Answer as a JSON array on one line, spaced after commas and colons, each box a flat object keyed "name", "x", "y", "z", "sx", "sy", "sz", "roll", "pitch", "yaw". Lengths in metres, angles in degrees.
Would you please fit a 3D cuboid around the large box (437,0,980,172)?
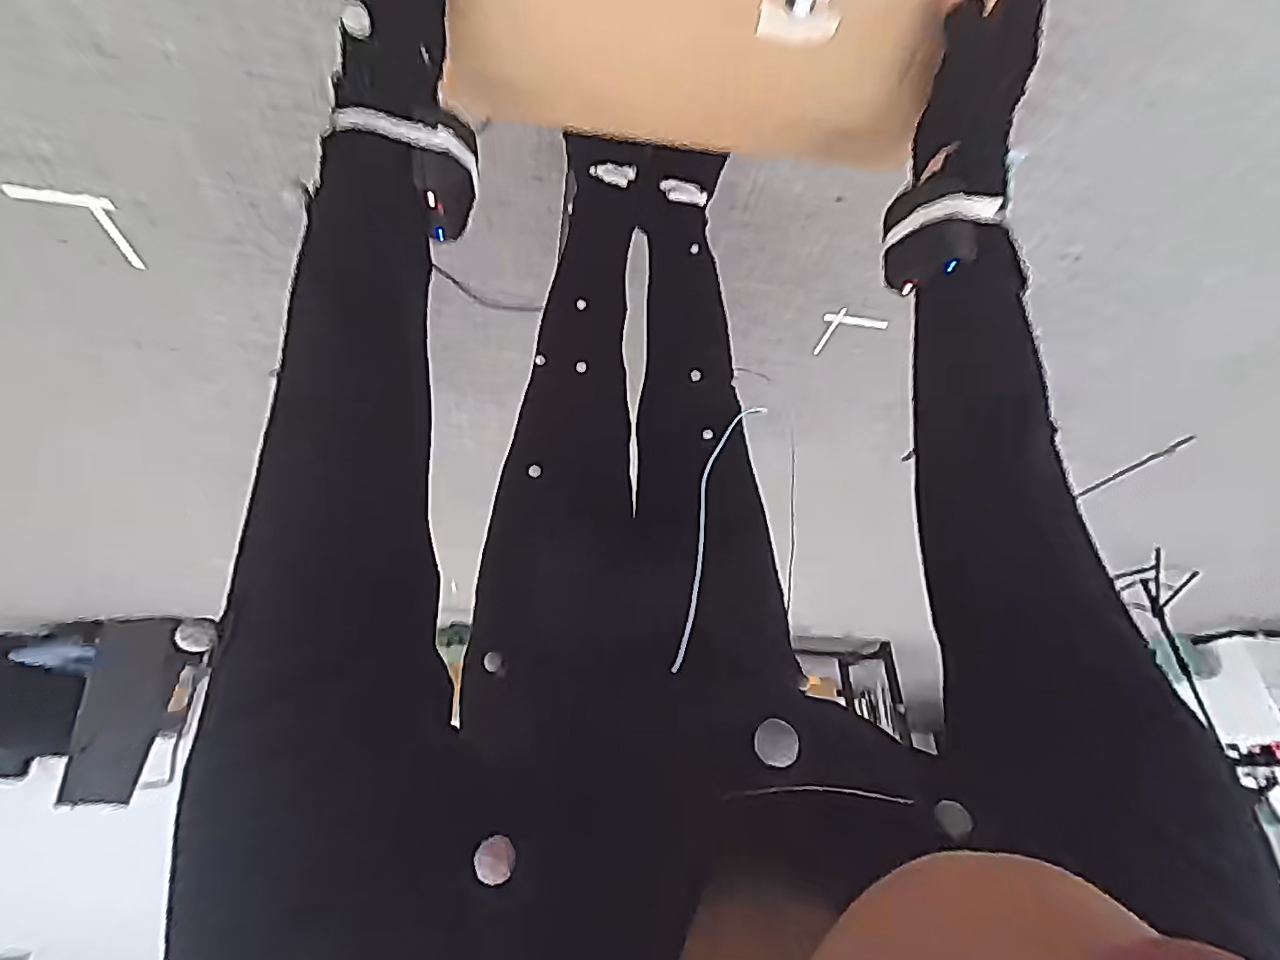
[{"name": "large box", "x": 0.054, "y": -0.503, "z": 0.431, "sx": 0.408, "sy": 0.320, "sz": 0.320, "roll": 4, "pitch": 150, "yaw": -6}]
